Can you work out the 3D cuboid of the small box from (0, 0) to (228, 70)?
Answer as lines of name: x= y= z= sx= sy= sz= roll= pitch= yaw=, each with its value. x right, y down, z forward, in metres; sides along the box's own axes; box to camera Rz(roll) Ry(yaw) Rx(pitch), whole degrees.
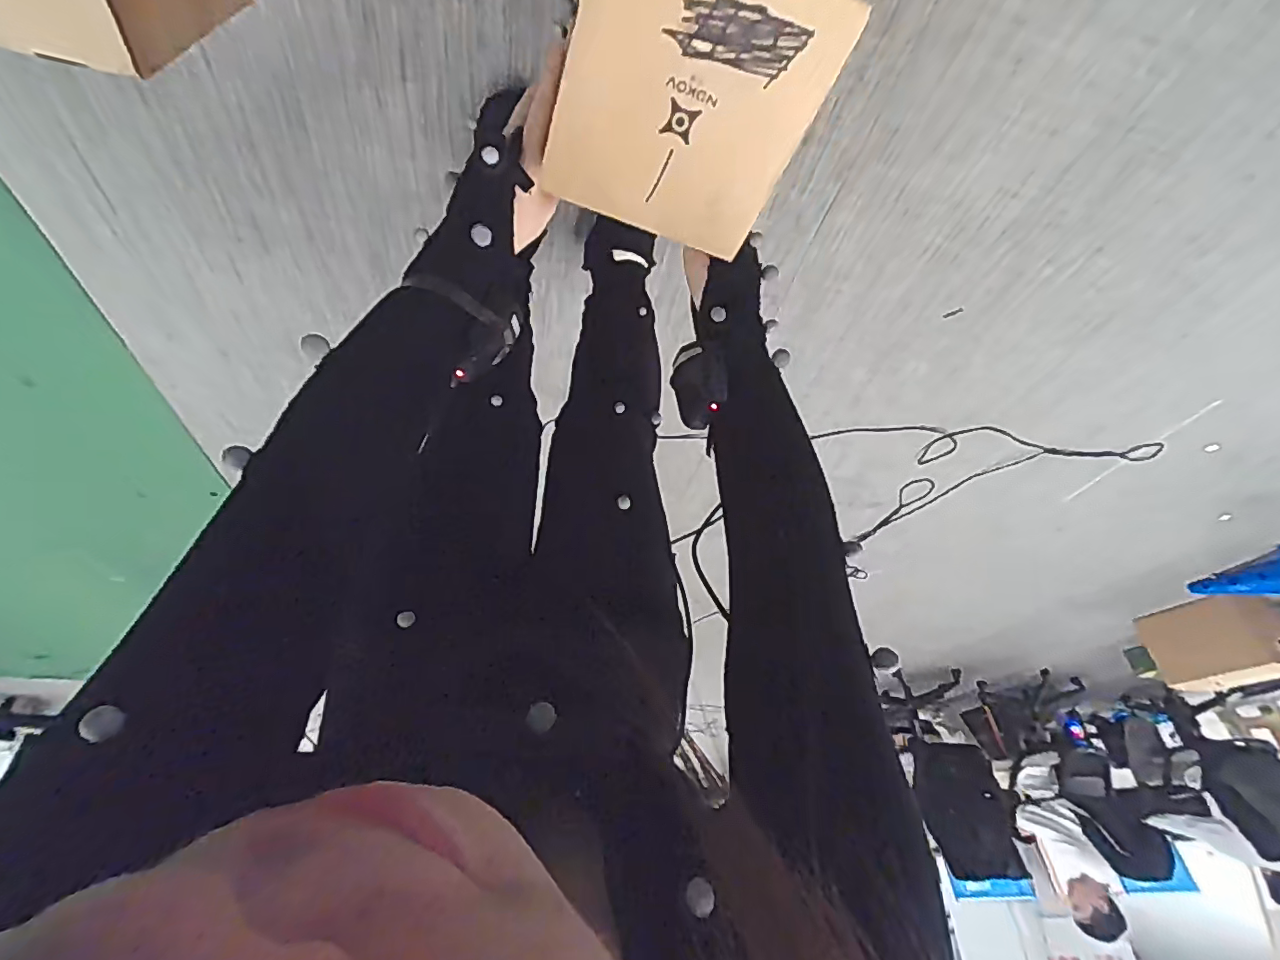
small box: x=-0.371 y=-0.382 z=0.301 sx=0.168 sy=0.176 sz=0.179 roll=9 pitch=145 yaw=-10

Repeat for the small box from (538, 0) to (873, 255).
small box: x=0.030 y=-0.312 z=0.400 sx=0.168 sy=0.176 sz=0.179 roll=13 pitch=142 yaw=-18
